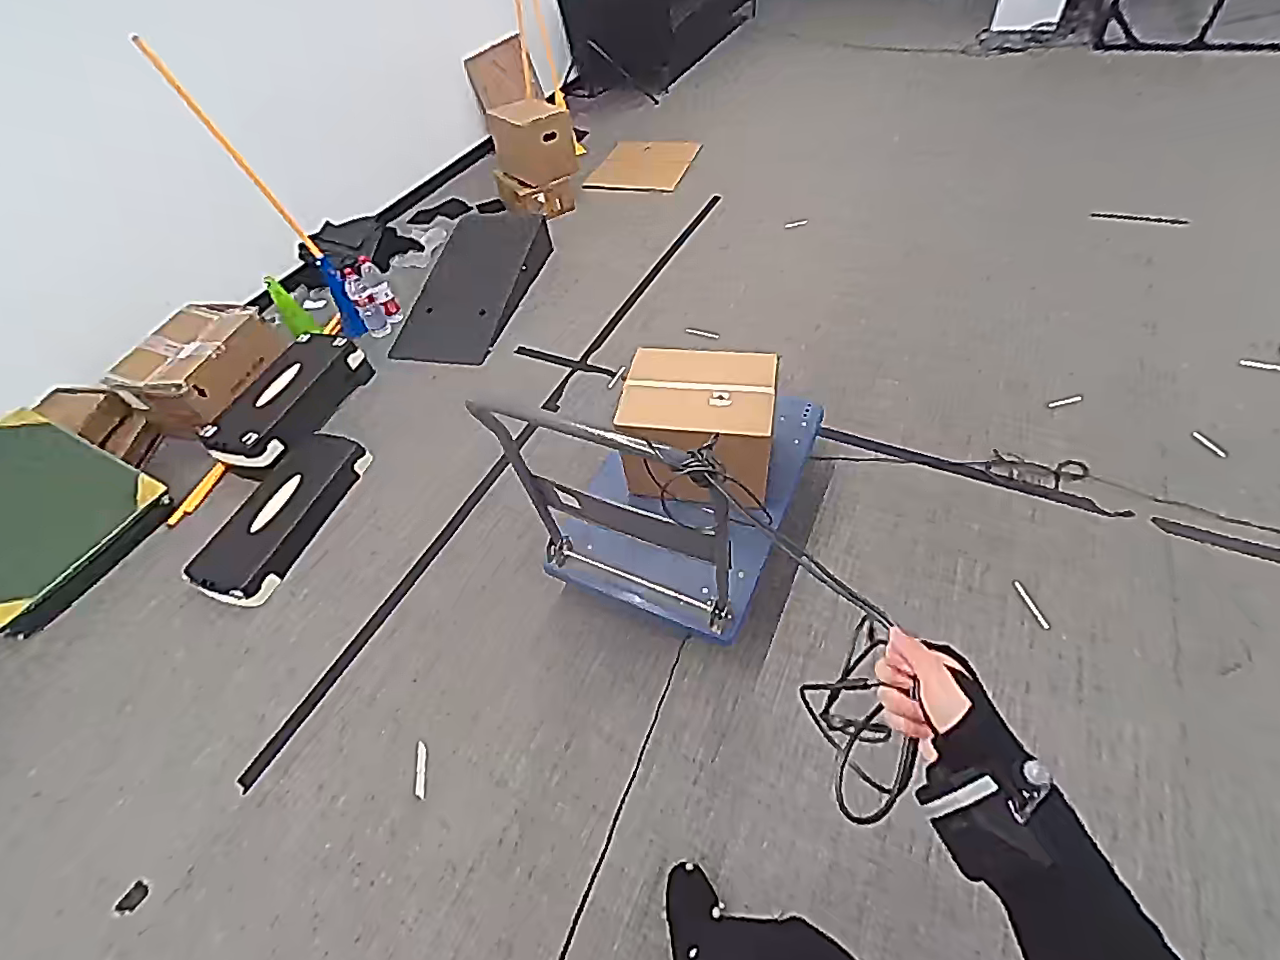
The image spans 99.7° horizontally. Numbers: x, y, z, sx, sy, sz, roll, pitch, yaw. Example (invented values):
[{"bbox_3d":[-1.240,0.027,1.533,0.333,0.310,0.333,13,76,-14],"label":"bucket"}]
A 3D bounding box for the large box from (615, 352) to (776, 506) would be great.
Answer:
[{"bbox_3d":[0.168,-0.146,1.559,0.408,0.320,0.320,6,54,12],"label":"large box"}]
